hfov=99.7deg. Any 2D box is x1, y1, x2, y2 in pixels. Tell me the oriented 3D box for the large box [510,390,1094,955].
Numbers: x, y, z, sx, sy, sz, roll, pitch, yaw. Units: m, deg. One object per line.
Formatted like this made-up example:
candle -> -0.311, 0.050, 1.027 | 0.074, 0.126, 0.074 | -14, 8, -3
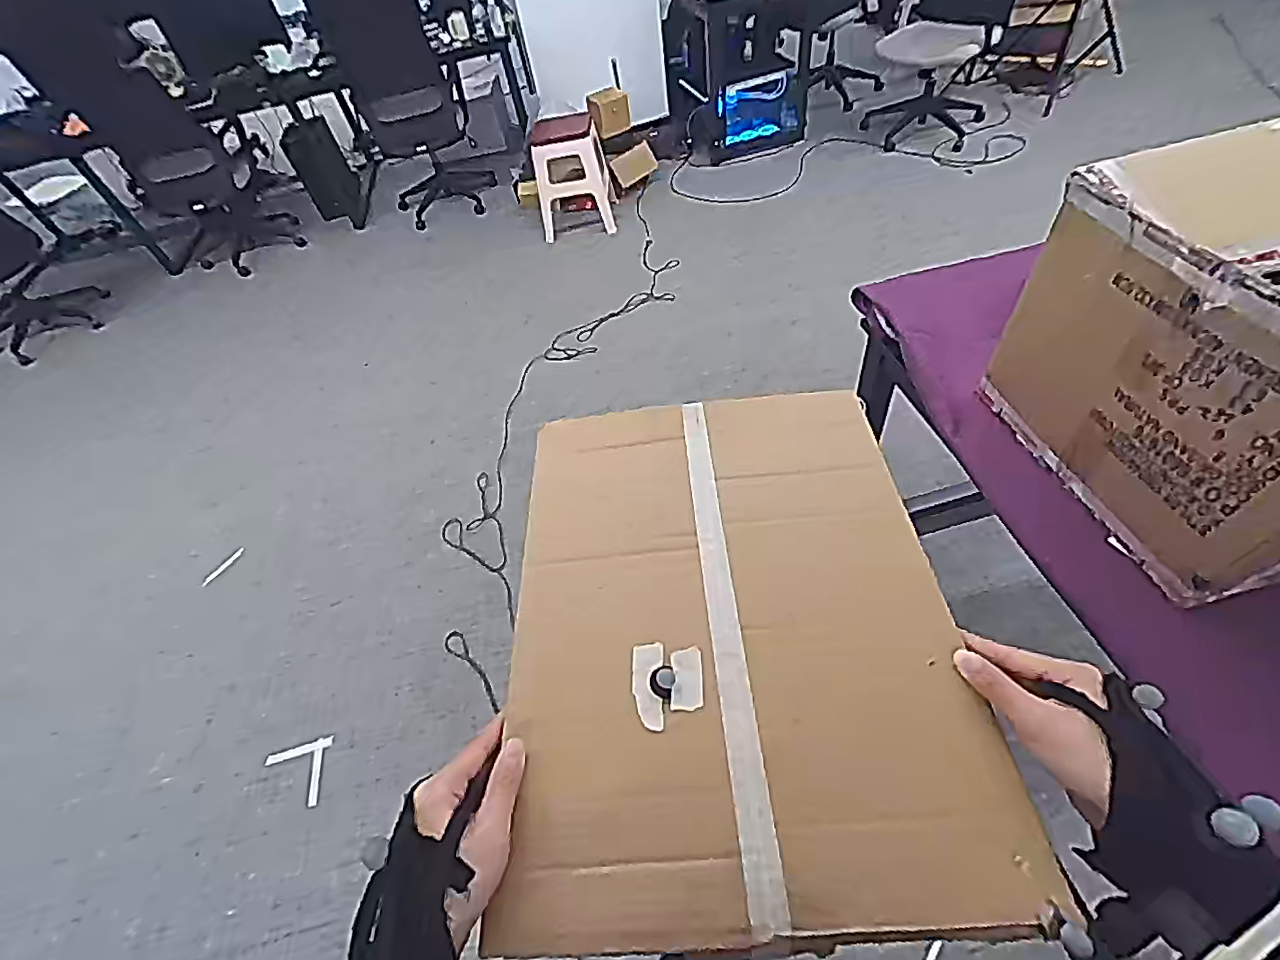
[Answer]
large box -> 0.084, 0.172, 0.519 | 0.320, 0.320, 0.408 | -6, 51, 4
